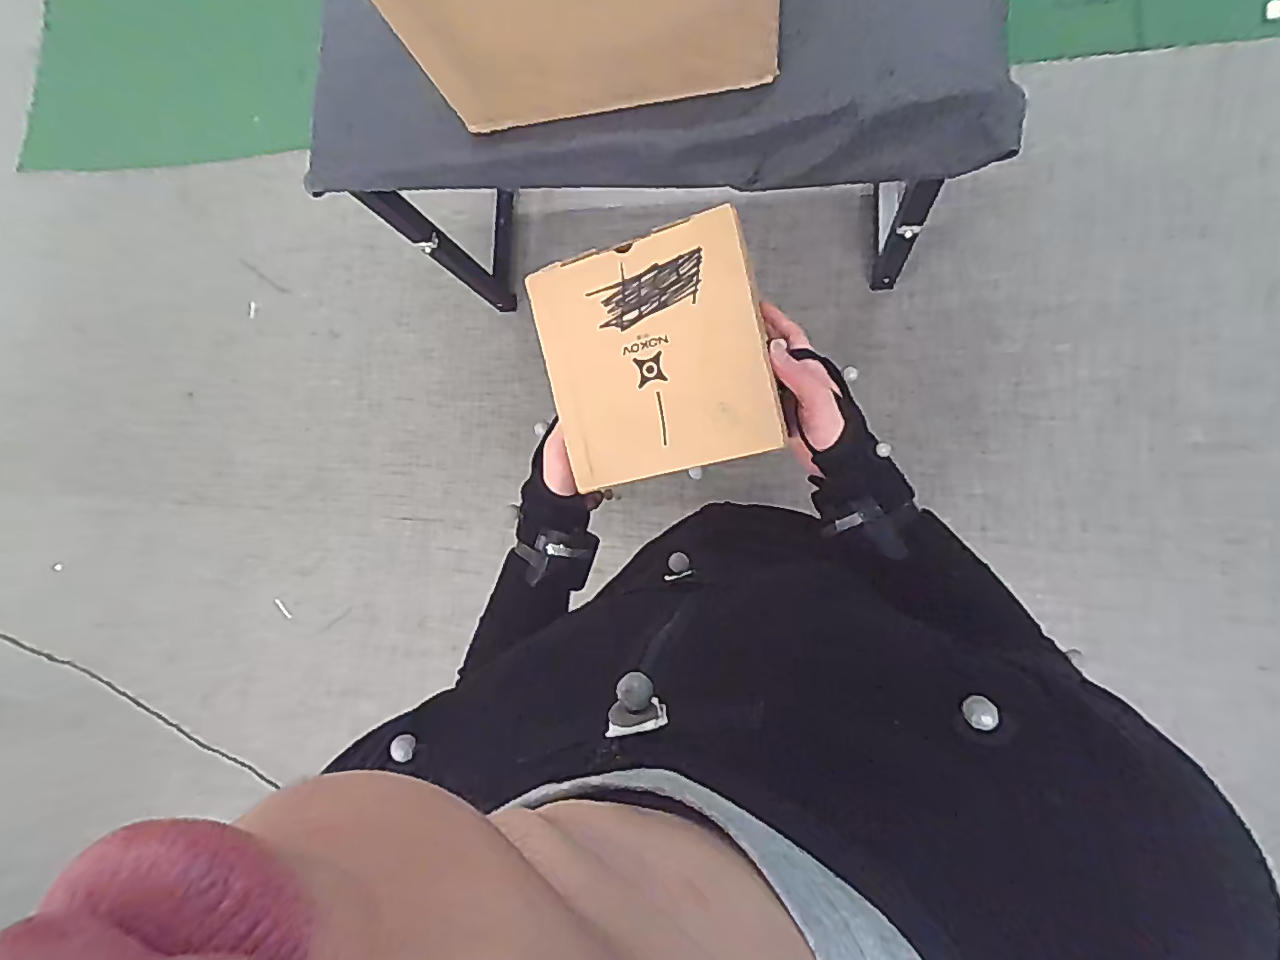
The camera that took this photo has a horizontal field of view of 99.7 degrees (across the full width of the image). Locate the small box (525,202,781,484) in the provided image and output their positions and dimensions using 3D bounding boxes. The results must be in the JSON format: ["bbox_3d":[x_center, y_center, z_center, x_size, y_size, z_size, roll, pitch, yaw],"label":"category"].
[{"bbox_3d":[0.025,-0.104,0.477,0.168,0.176,0.179,-12,94,17],"label":"small box"}]
